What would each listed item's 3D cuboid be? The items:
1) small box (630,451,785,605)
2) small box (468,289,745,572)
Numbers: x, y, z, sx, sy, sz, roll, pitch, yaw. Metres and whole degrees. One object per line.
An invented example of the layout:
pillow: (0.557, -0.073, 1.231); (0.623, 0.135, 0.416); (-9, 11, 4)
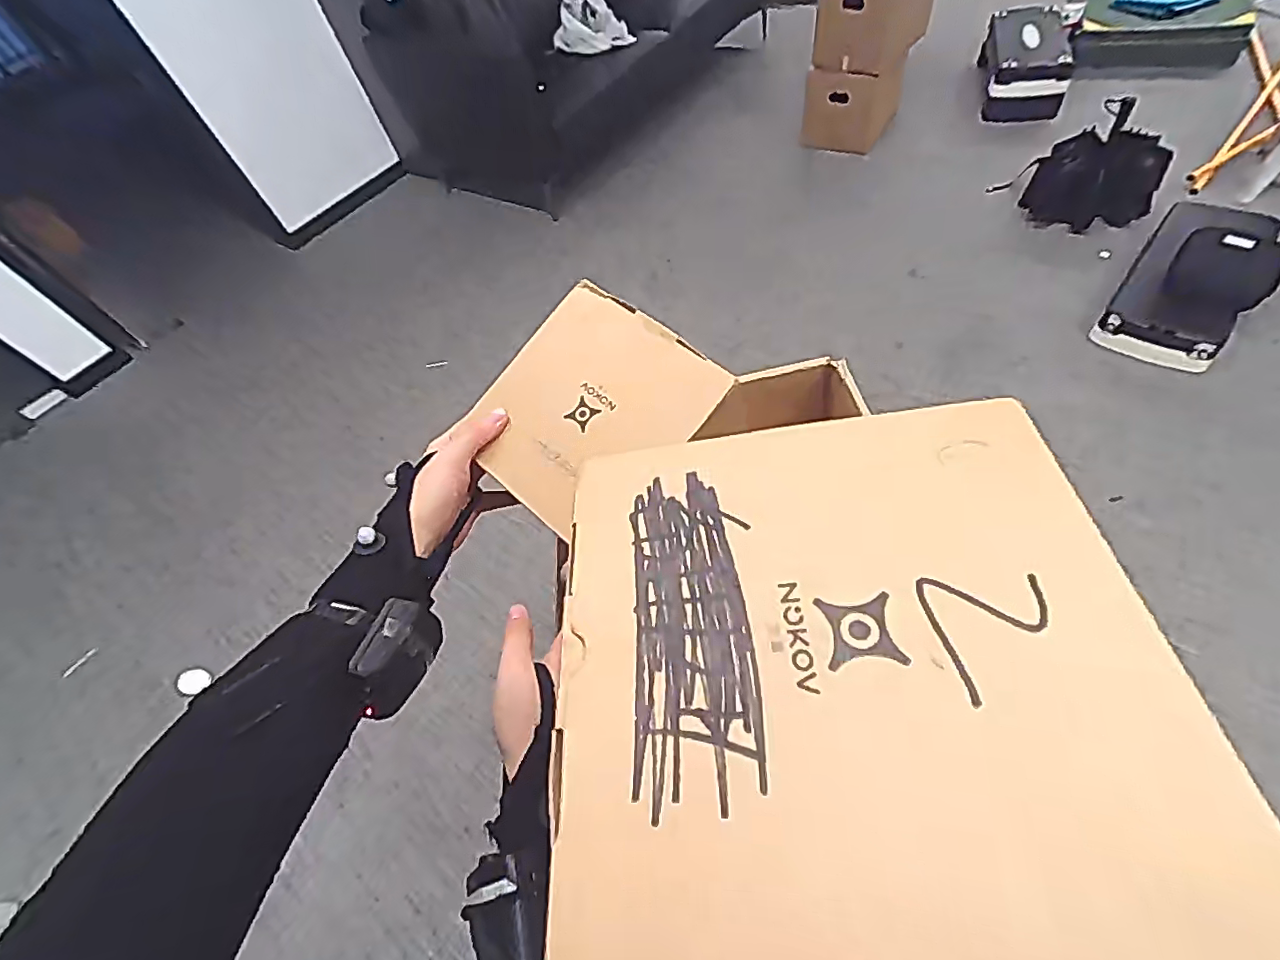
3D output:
small box: (0.069, 0.071, 0.669); (0.168, 0.176, 0.179); (-18, 55, 0)
small box: (-0.016, -0.034, 0.510); (0.168, 0.176, 0.179); (38, 88, 21)
